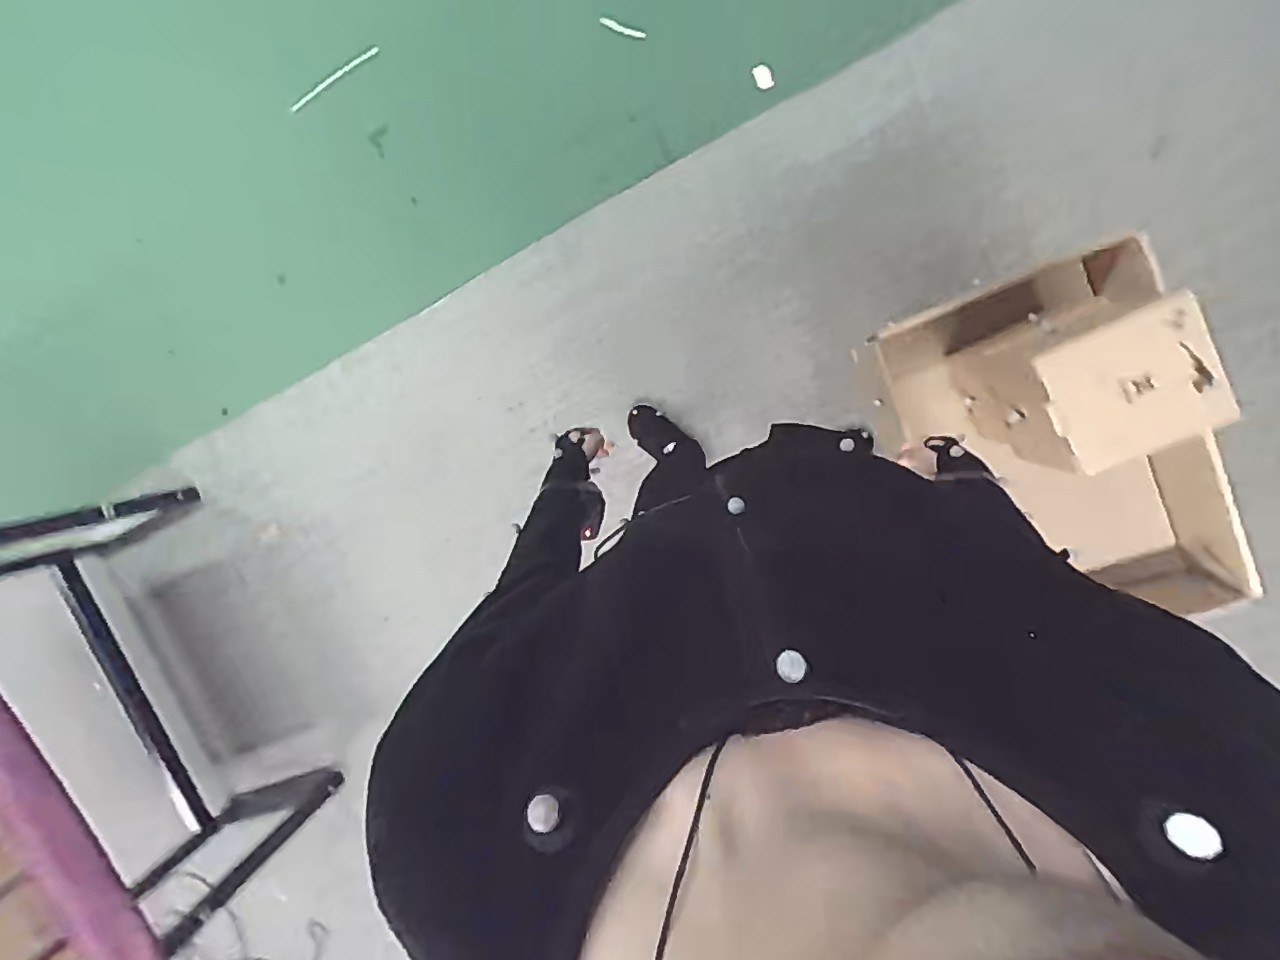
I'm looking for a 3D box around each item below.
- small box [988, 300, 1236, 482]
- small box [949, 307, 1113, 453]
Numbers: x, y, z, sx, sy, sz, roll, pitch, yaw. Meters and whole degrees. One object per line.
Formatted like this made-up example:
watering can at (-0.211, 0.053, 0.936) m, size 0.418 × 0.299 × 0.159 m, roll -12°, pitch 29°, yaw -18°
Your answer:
small box at (0.600, -0.115, 0.720) m, size 0.179 × 0.176 × 0.168 m, roll -24°, pitch 95°, yaw 15°
small box at (0.641, -0.158, 0.874) m, size 0.179 × 0.176 × 0.168 m, roll -24°, pitch 94°, yaw 15°
